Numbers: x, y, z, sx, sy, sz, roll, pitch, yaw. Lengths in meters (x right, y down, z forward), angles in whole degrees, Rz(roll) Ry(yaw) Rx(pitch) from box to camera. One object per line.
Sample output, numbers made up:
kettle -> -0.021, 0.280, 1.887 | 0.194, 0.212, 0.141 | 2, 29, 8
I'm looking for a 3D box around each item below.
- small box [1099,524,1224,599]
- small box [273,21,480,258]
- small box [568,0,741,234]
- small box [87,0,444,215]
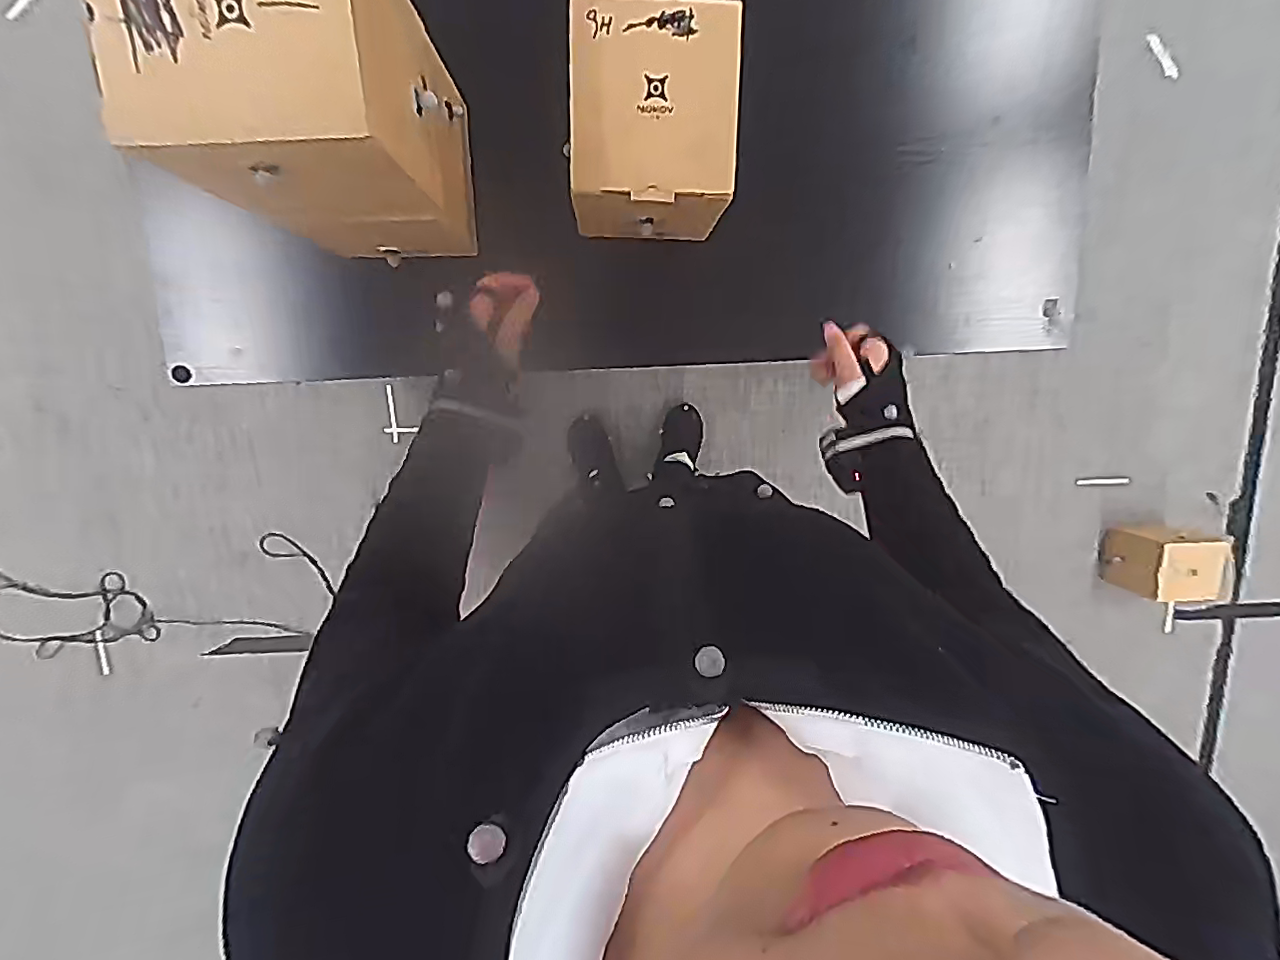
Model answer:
small box -> 1.459, 0.223, 1.522 | 0.179, 0.176, 0.168 | -1, 100, -2
small box -> -0.285, -0.357, 0.594 | 0.168, 0.176, 0.179 | -3, 101, -1
small box -> 0.010, -0.385, 0.603 | 0.168, 0.176, 0.179 | 0, 101, -3
small box -> -0.277, -0.325, 0.433 | 0.179, 0.176, 0.168 | -4, 100, -2
